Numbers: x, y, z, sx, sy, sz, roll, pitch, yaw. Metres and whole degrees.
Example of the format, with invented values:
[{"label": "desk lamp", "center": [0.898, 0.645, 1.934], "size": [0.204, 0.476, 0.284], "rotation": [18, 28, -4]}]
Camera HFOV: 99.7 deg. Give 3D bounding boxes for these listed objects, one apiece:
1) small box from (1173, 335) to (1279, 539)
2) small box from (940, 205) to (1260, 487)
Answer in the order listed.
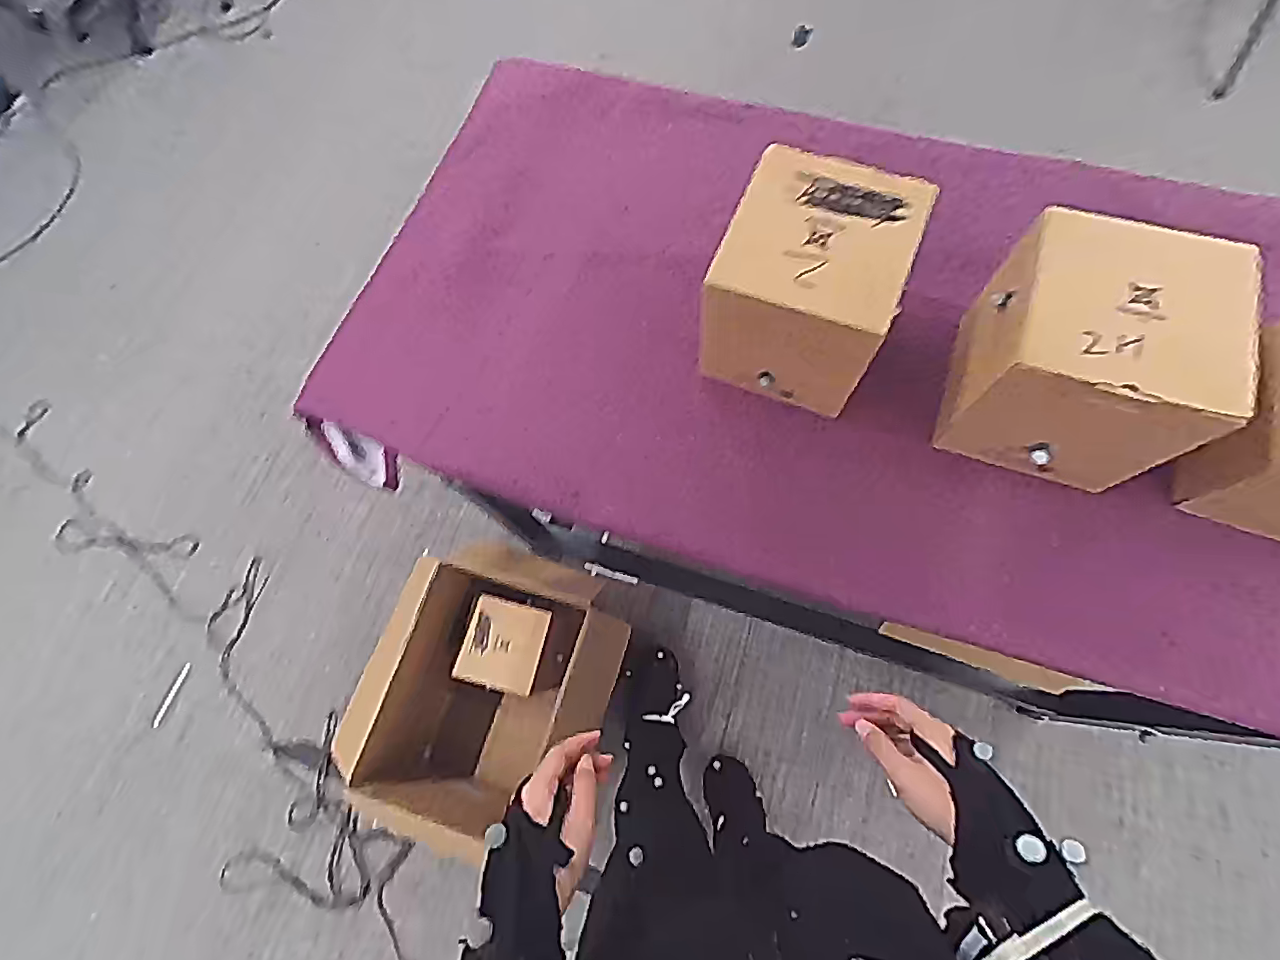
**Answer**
[{"label": "small box", "center": [0.643, -0.041, 0.475], "size": [0.179, 0.176, 0.168], "rotation": [21, 73, 13]}, {"label": "small box", "center": [0.418, -0.118, 0.520], "size": [0.168, 0.176, 0.179], "rotation": [19, 73, 12]}]
